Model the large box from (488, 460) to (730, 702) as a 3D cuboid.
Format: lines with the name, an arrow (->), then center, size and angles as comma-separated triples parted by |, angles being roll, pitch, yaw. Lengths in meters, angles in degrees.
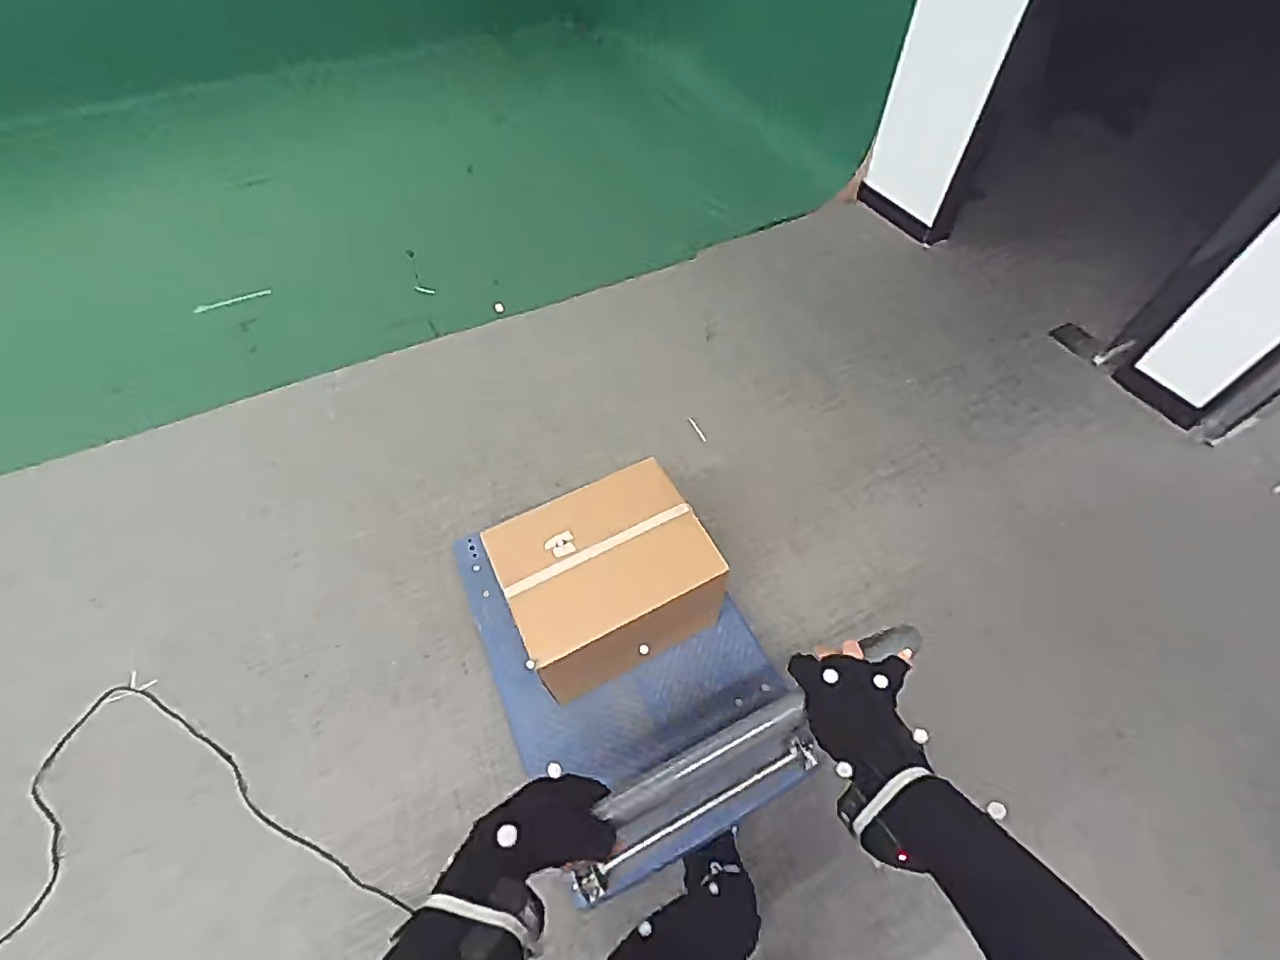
large box -> -0.061, 0.227, 1.201 | 0.408, 0.320, 0.320 | -26, 58, -14
